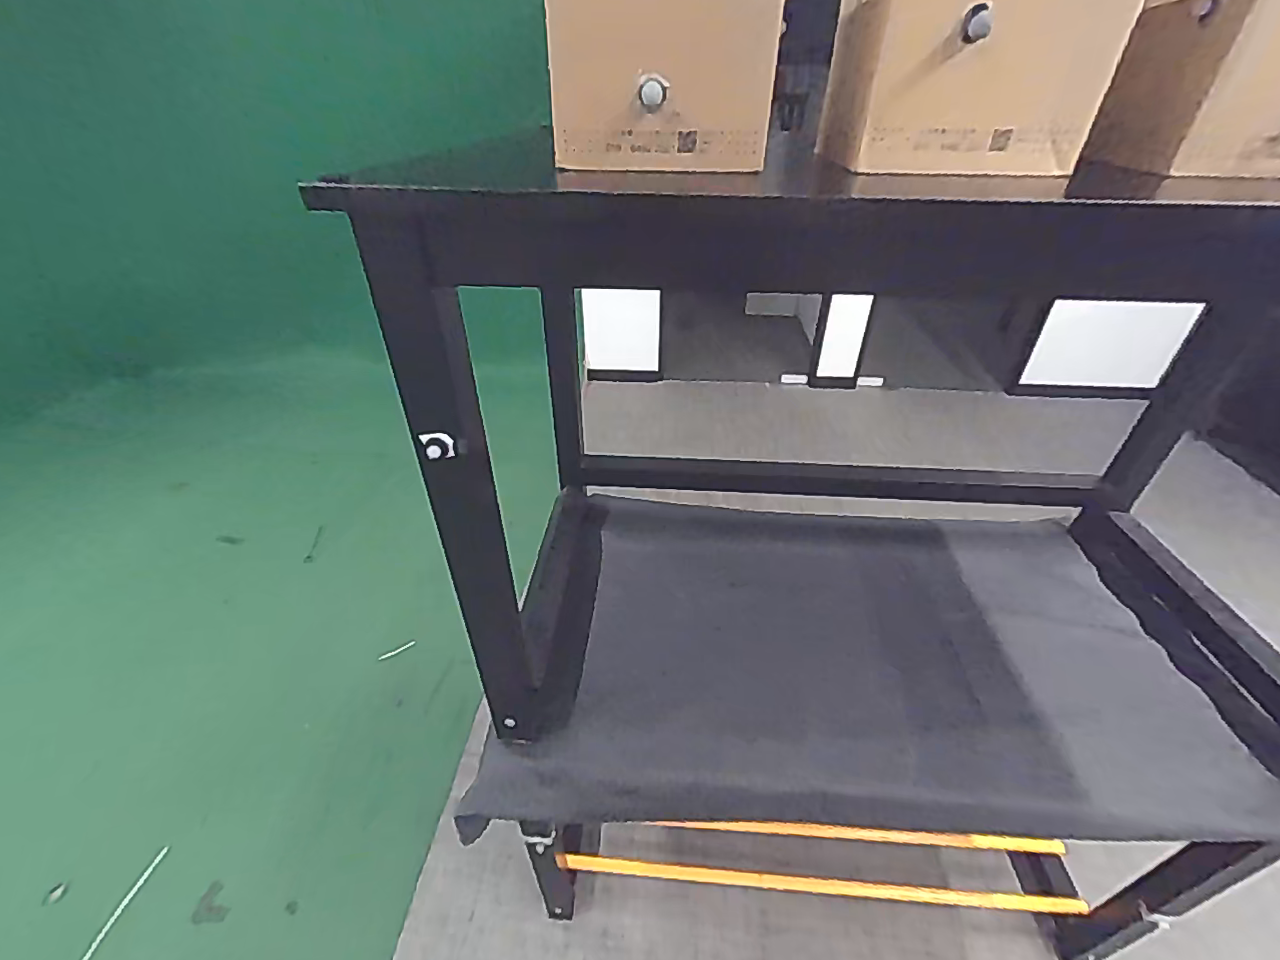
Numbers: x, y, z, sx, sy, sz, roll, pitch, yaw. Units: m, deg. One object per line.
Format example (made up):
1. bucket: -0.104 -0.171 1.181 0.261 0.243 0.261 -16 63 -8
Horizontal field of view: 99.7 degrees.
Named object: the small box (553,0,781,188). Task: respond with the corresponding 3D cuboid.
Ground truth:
1. small box: 0.021 -0.359 0.461 0.168 0.176 0.179 2 37 2
